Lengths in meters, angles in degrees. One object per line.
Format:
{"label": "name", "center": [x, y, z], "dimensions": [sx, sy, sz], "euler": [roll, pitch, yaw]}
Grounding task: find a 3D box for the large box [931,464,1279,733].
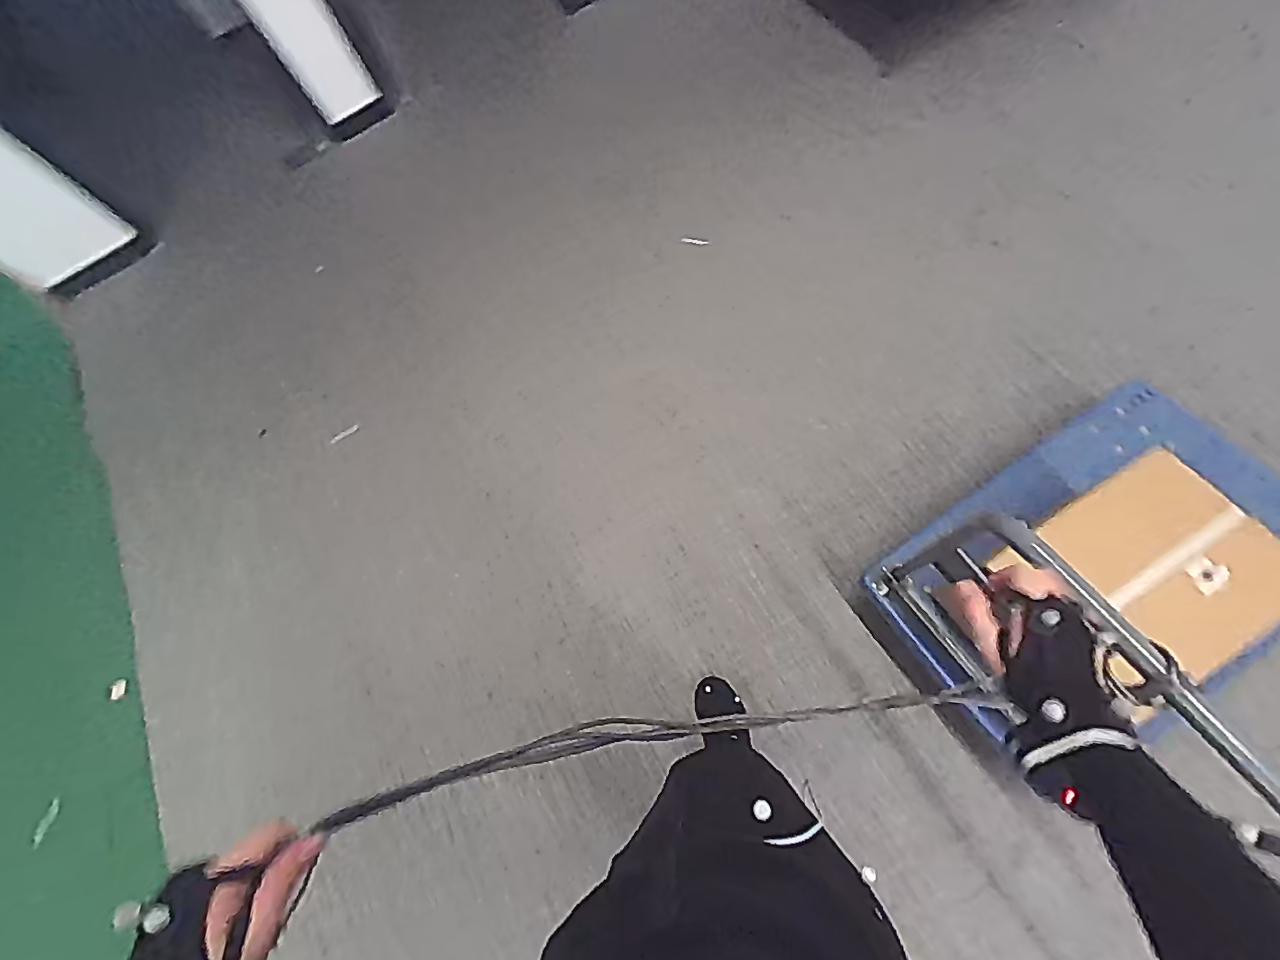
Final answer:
{"label": "large box", "center": [0.887, 0.245, 1.073], "dimensions": [0.408, 0.320, 0.320], "euler": [-32, 67, -5]}
